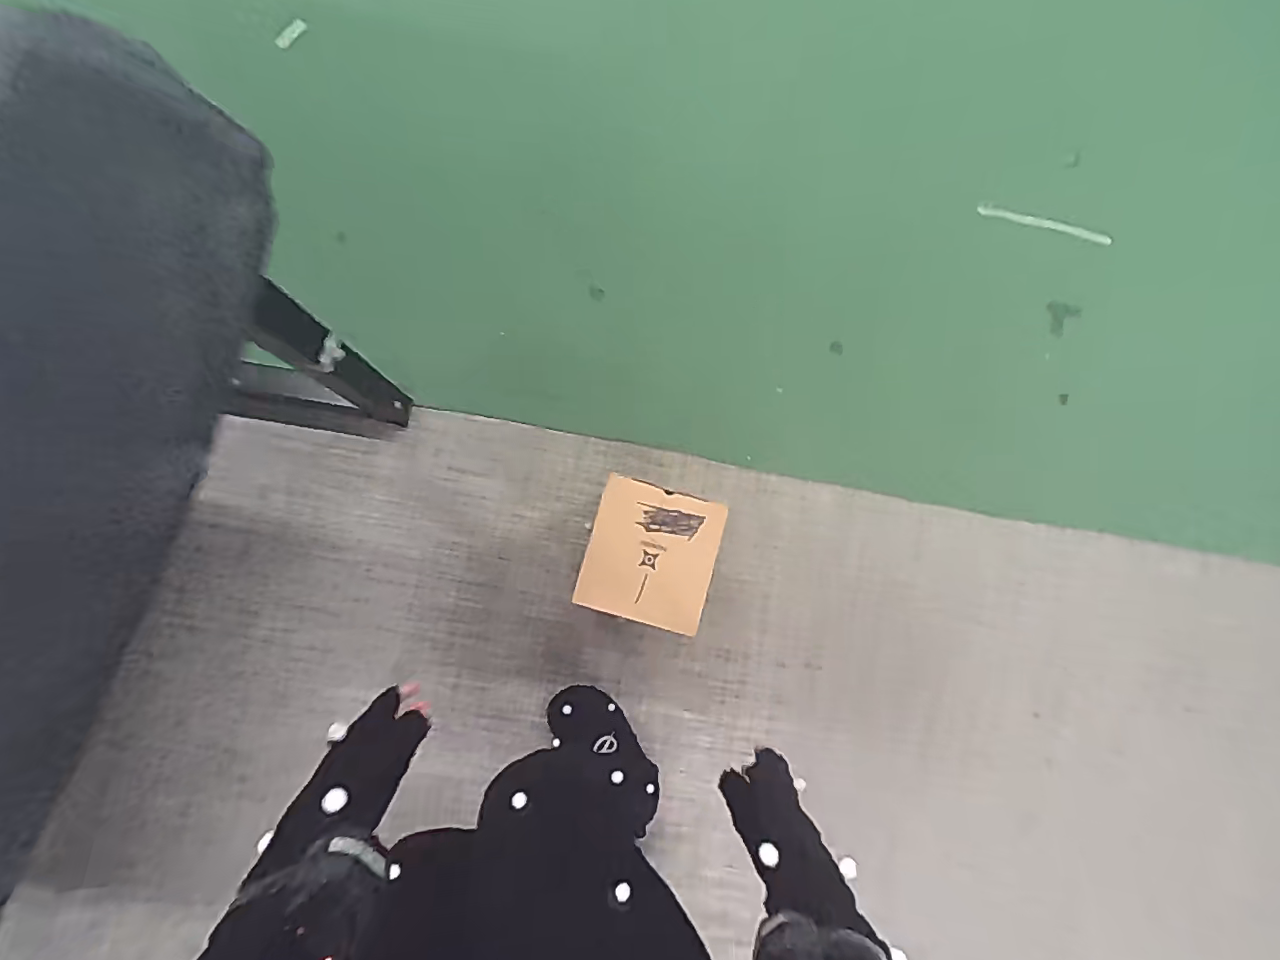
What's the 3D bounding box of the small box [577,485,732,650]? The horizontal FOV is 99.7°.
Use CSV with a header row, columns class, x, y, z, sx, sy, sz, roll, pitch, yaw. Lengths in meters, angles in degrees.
class,x,y,z,sx,sy,sz,roll,pitch,yaw
small box,0.014,0.123,0.773,0.168,0.176,0.179,17,80,-1
